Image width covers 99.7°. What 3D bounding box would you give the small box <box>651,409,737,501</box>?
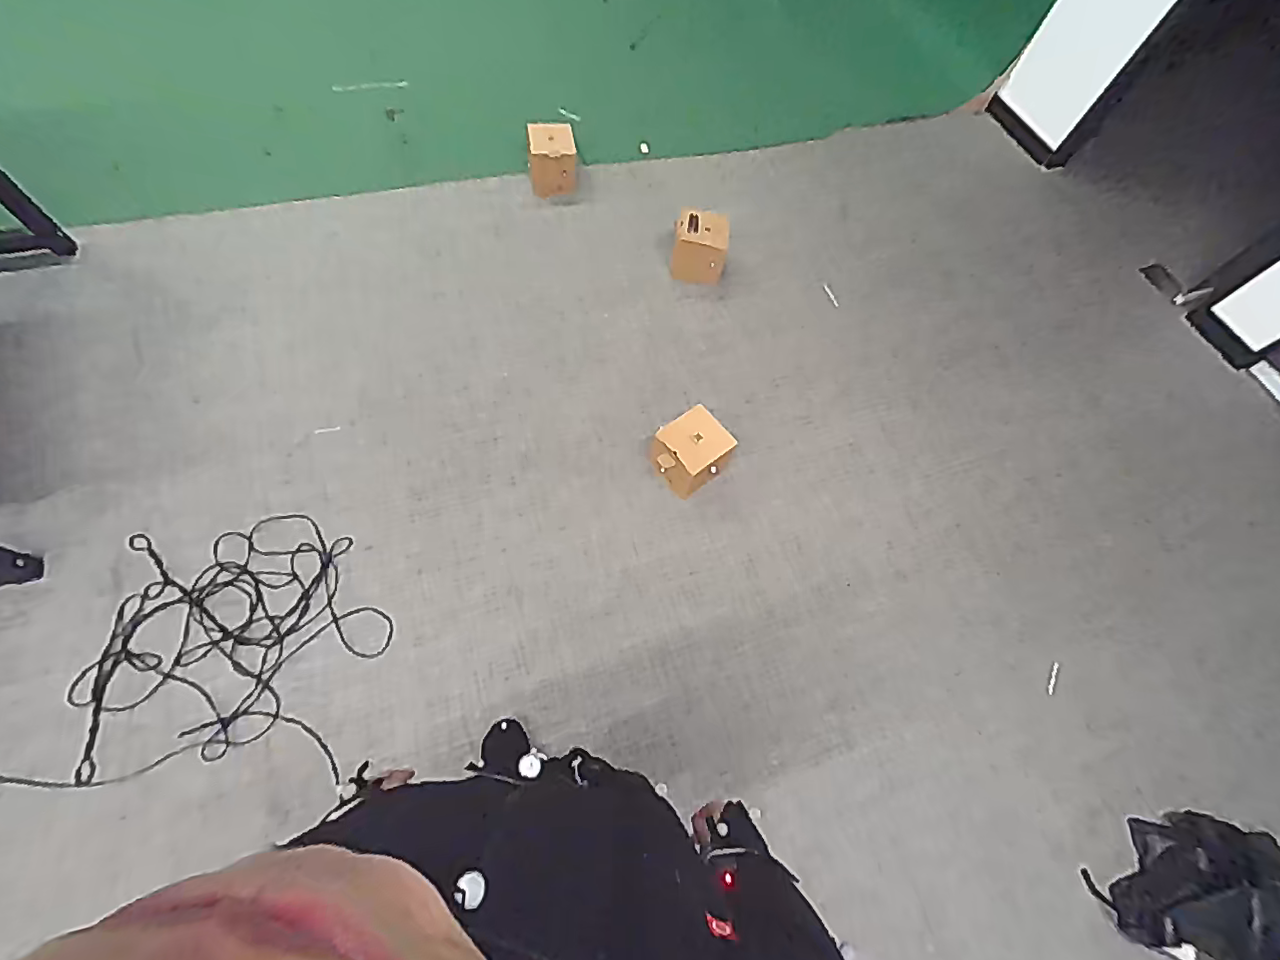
[{"bbox_3d":[0.150,-0.069,1.582,0.179,0.176,0.168,-35,73,-20],"label":"small box"}]

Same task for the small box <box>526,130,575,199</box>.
[{"bbox_3d":[-0.343,-1.209,2.079,0.168,0.176,0.179,-7,65,-12],"label":"small box"}]
